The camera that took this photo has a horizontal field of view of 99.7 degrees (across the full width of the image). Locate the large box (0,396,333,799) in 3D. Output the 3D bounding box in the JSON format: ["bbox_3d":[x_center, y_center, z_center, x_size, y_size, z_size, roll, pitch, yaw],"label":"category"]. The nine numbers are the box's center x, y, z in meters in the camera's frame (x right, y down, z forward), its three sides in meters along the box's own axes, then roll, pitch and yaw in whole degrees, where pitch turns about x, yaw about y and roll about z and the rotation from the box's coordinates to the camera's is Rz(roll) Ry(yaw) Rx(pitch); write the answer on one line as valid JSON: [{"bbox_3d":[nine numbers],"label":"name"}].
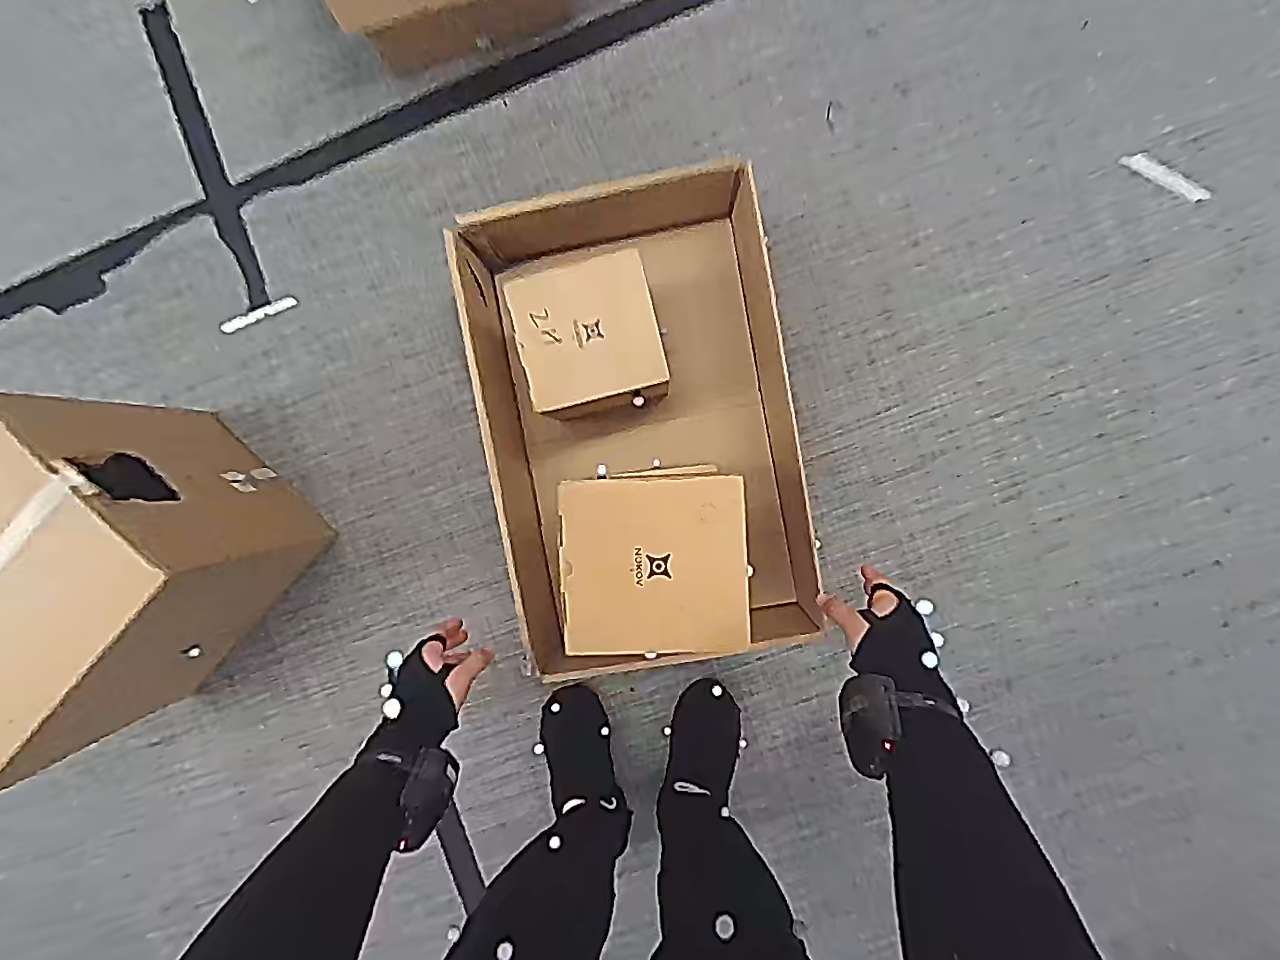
[{"bbox_3d":[-0.754,0.137,0.772,0.320,0.320,0.408,43,95,2],"label":"large box"}]
